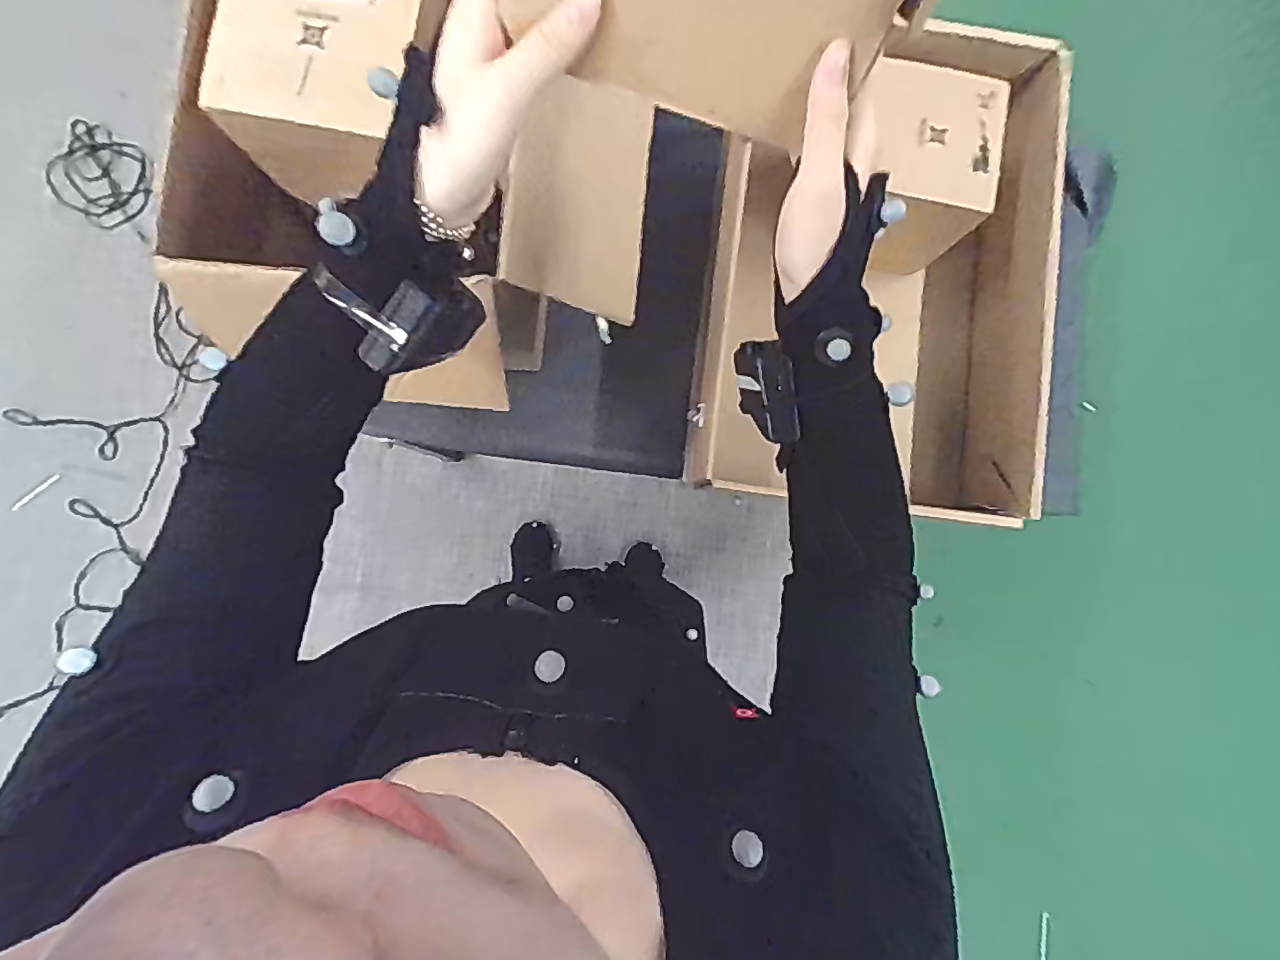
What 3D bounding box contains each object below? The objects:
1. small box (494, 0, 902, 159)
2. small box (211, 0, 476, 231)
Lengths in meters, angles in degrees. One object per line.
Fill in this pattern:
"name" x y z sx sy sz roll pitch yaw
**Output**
"small box" 0.041 -0.298 0.253 0.179 0.168 0.176 12 59 -9
"small box" -0.273 -0.386 0.543 0.168 0.176 0.179 9 88 -3
